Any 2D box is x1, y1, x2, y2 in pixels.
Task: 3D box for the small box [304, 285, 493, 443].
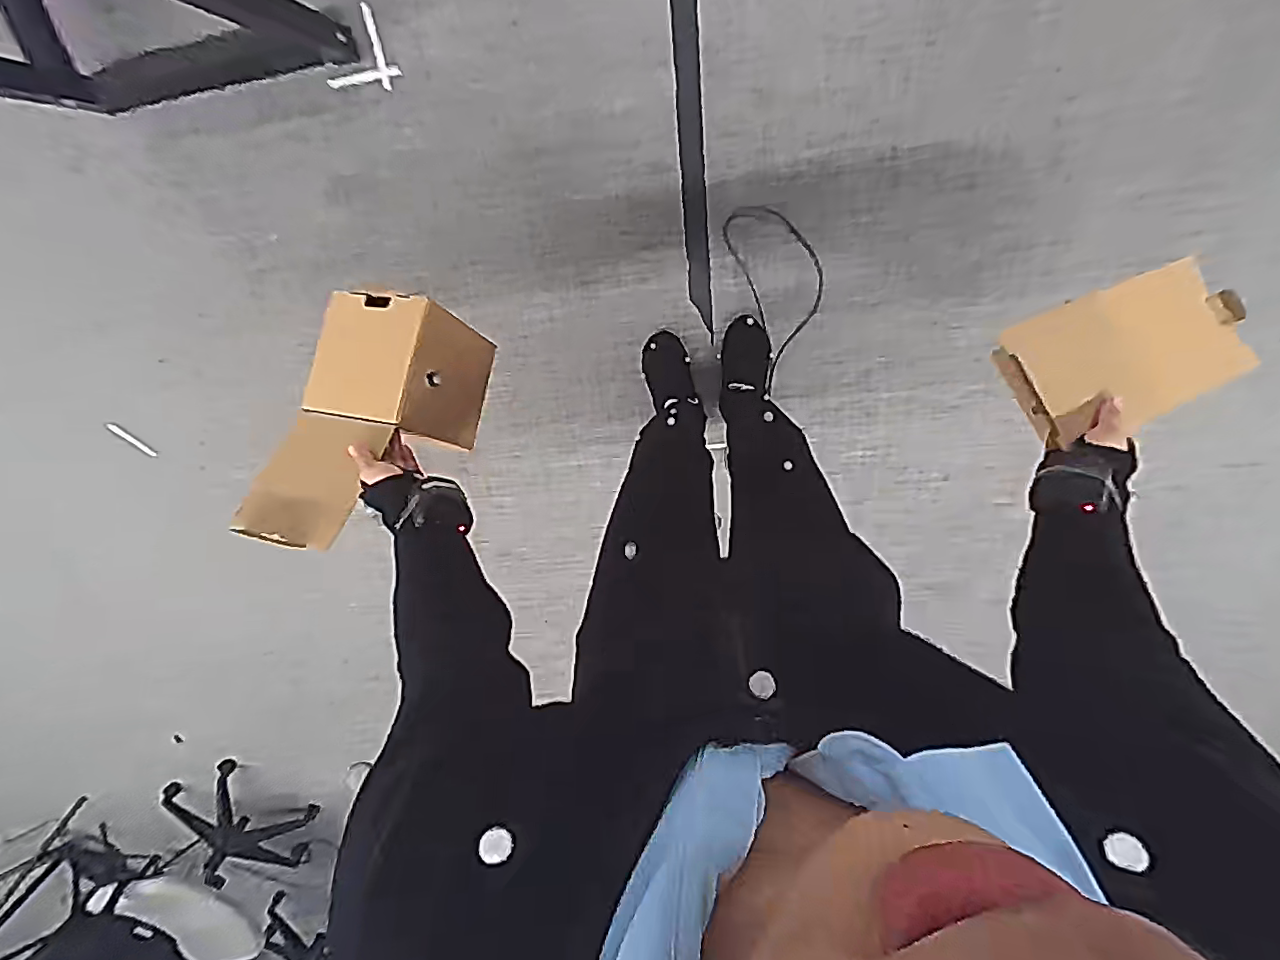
[{"bbox_3d":[-0.339,-0.159,0.787,0.168,0.176,0.179,10,84,18],"label":"small box"}]
